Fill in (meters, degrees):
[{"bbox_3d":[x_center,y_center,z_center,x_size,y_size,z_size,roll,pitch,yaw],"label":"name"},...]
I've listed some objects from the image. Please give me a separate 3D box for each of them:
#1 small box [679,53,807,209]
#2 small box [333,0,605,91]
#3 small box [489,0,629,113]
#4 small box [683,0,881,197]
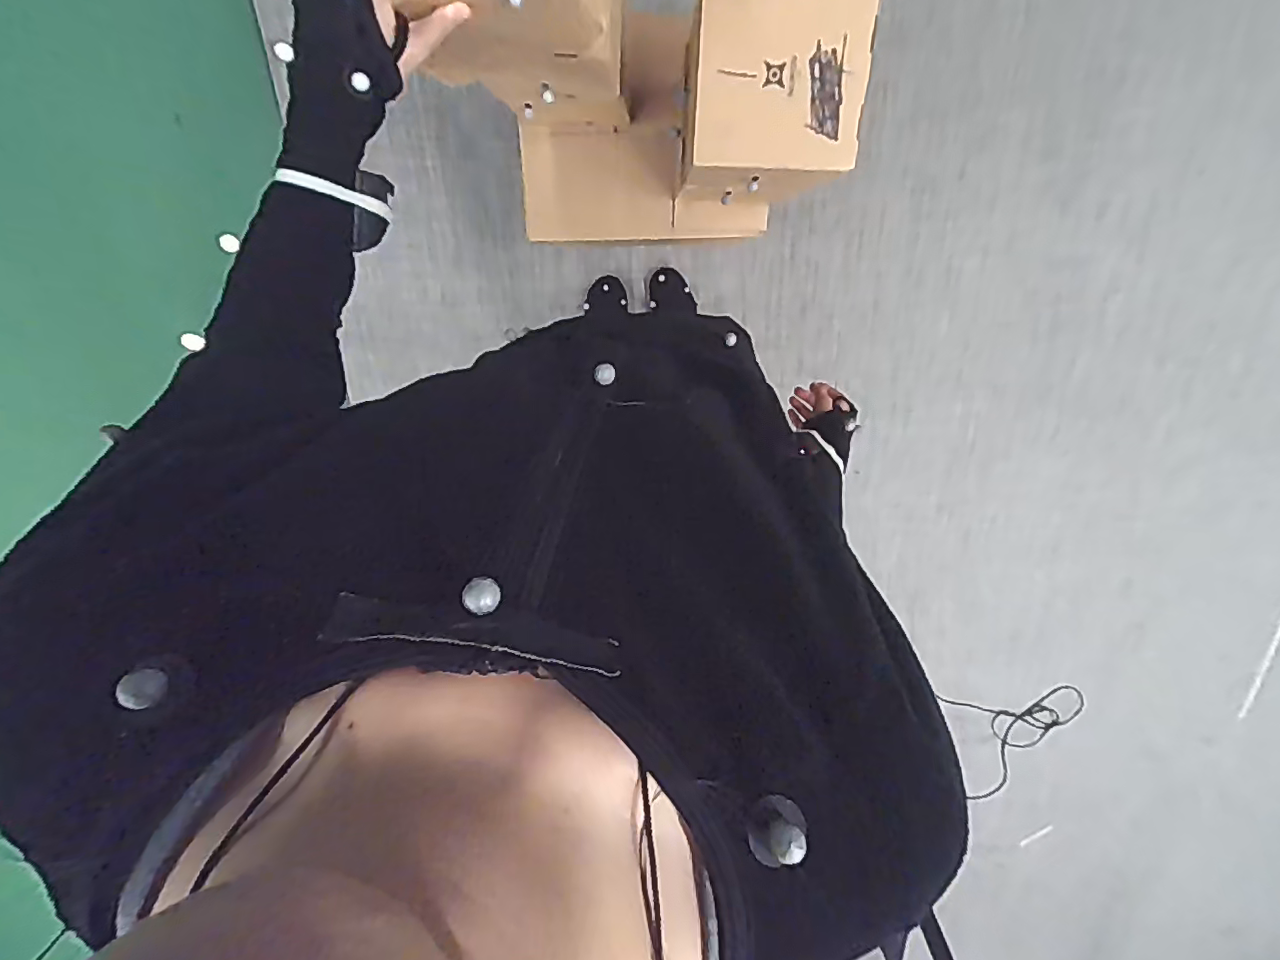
[{"bbox_3d":[0.148,-0.490,0.781,0.179,0.176,0.168,2,113,2],"label":"small box"},{"bbox_3d":[-0.148,-0.460,0.448,0.179,0.176,0.168,-8,109,17],"label":"small box"},{"bbox_3d":[-0.102,-0.538,0.601,0.168,0.176,0.179,5,112,1],"label":"small box"},{"bbox_3d":[0.146,-0.432,0.628,0.179,0.176,0.168,3,112,1],"label":"small box"}]
